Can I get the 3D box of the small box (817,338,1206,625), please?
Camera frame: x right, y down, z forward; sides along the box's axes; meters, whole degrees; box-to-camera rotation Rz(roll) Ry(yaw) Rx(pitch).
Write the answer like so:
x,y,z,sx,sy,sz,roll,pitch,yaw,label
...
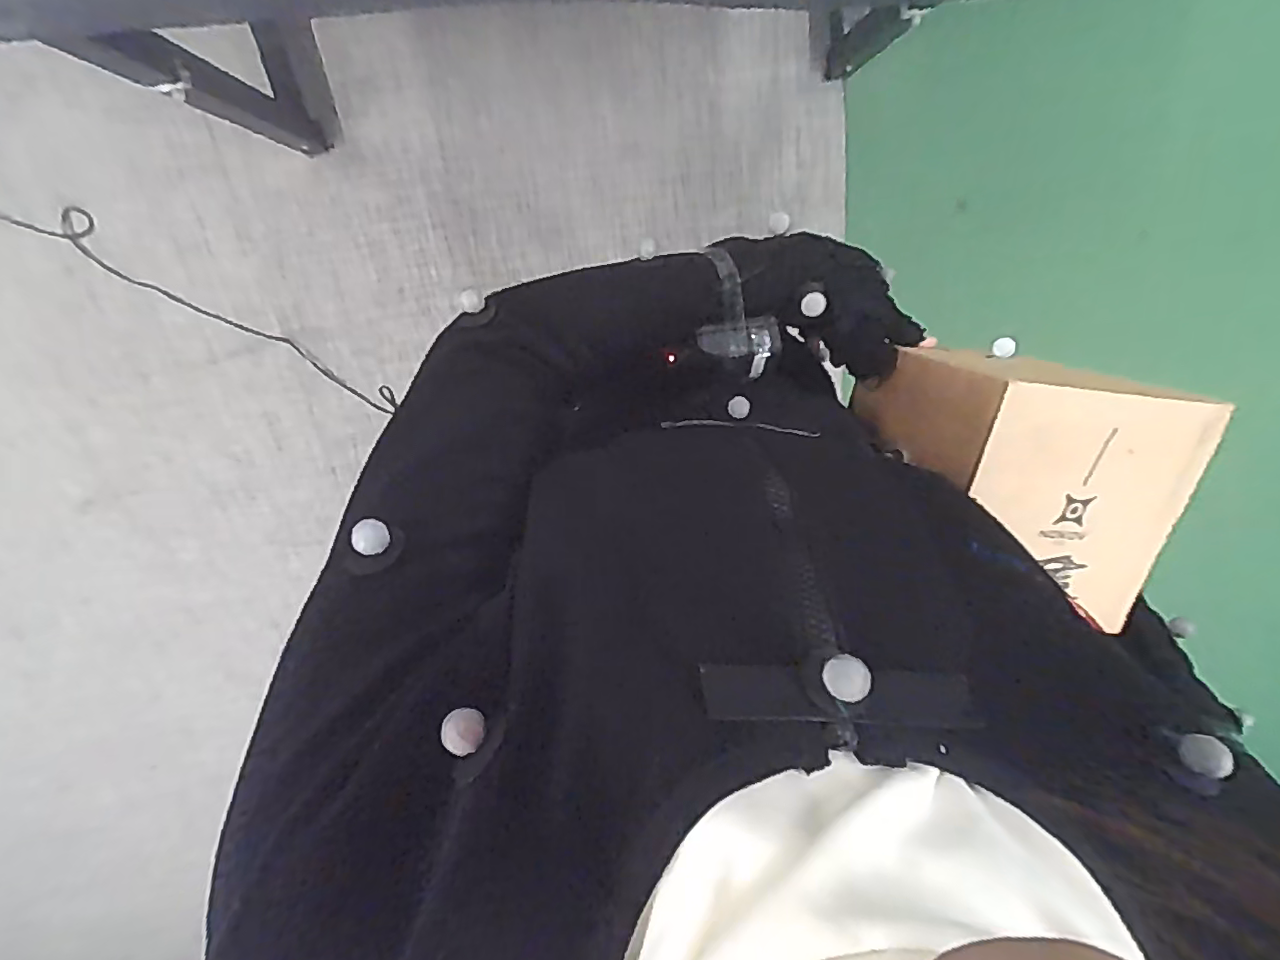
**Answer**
x,y,z,sx,sy,sz,roll,pitch,yaw,label
0.267,-0.007,0.442,0.168,0.176,0.179,5,111,-10,small box
